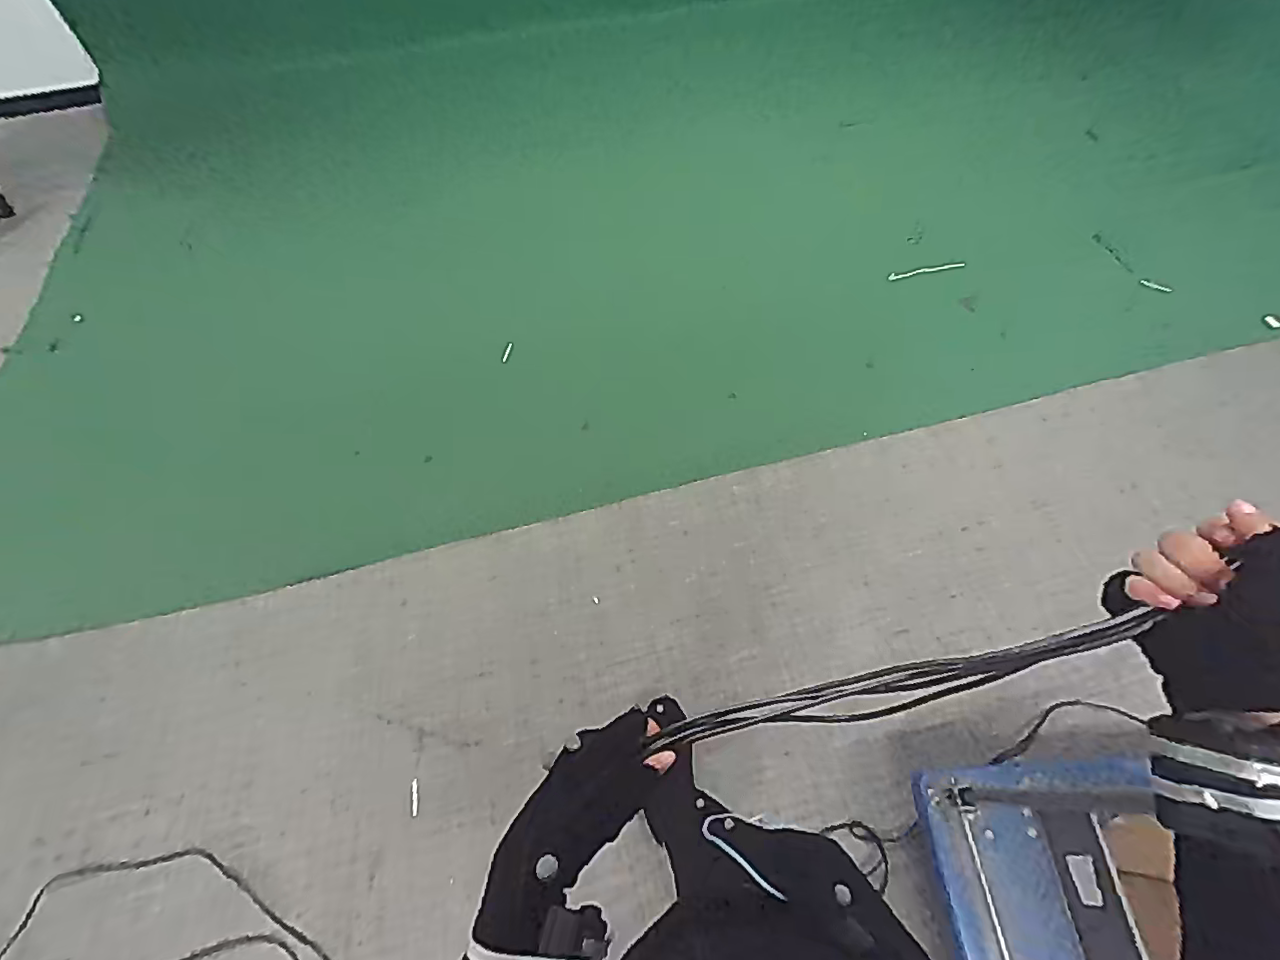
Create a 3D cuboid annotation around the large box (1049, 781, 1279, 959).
[{"bbox_3d":[0.968,0.731,0.814,0.320,0.320,0.408,-22,60,-11],"label":"large box"}]
